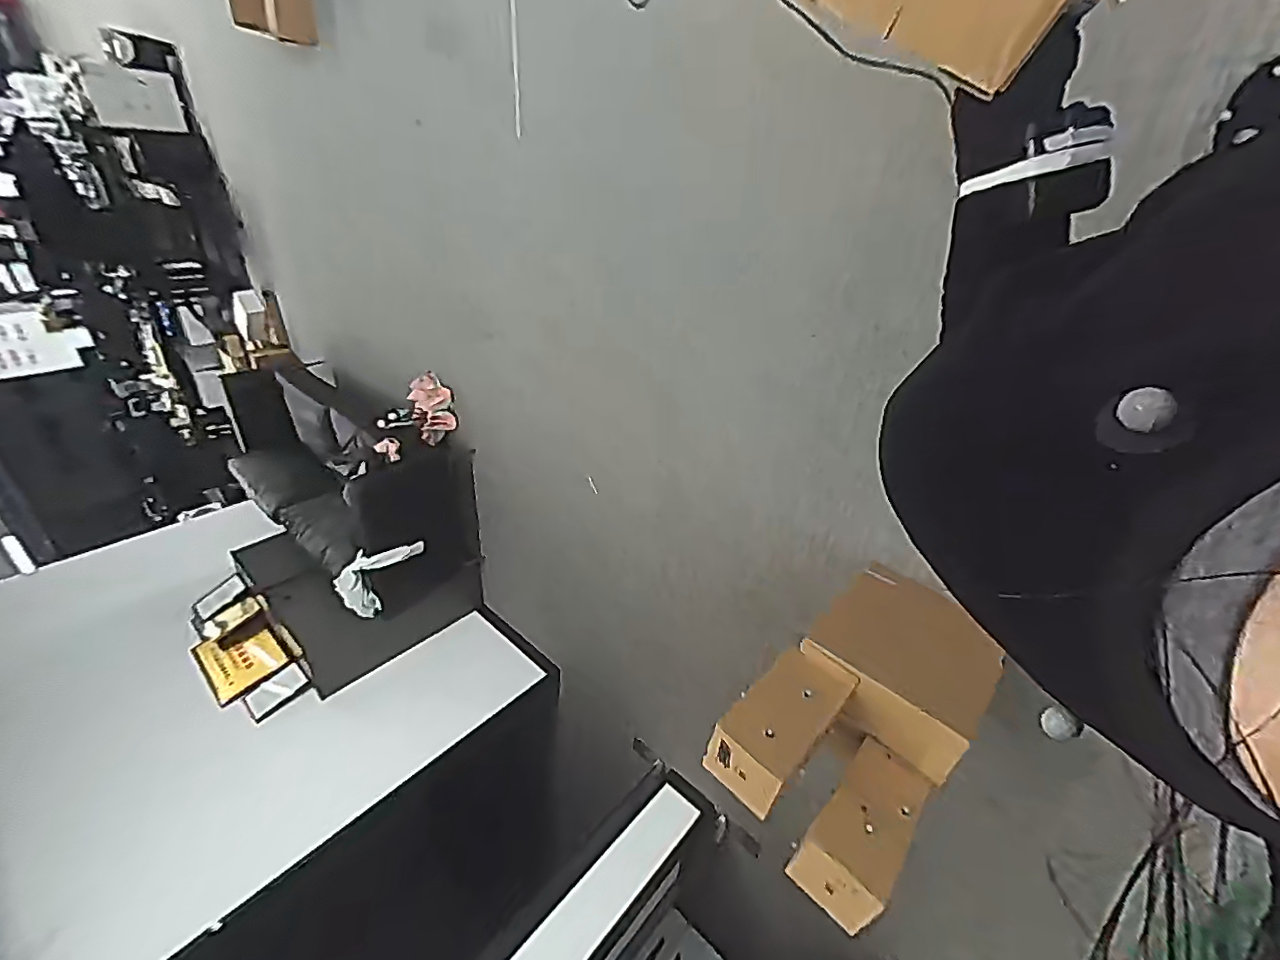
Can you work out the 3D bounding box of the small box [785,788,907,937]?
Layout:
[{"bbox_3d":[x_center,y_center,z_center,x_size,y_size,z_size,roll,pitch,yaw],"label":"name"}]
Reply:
[{"bbox_3d":[0.449,0.823,1.175,0.168,0.176,0.179,33,129,28],"label":"small box"}]

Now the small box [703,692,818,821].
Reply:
[{"bbox_3d":[0.276,0.623,1.247,0.179,0.176,0.168,33,129,31],"label":"small box"}]

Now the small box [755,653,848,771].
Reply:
[{"bbox_3d":[0.390,0.571,1.353,0.179,0.176,0.168,32,127,31],"label":"small box"}]
